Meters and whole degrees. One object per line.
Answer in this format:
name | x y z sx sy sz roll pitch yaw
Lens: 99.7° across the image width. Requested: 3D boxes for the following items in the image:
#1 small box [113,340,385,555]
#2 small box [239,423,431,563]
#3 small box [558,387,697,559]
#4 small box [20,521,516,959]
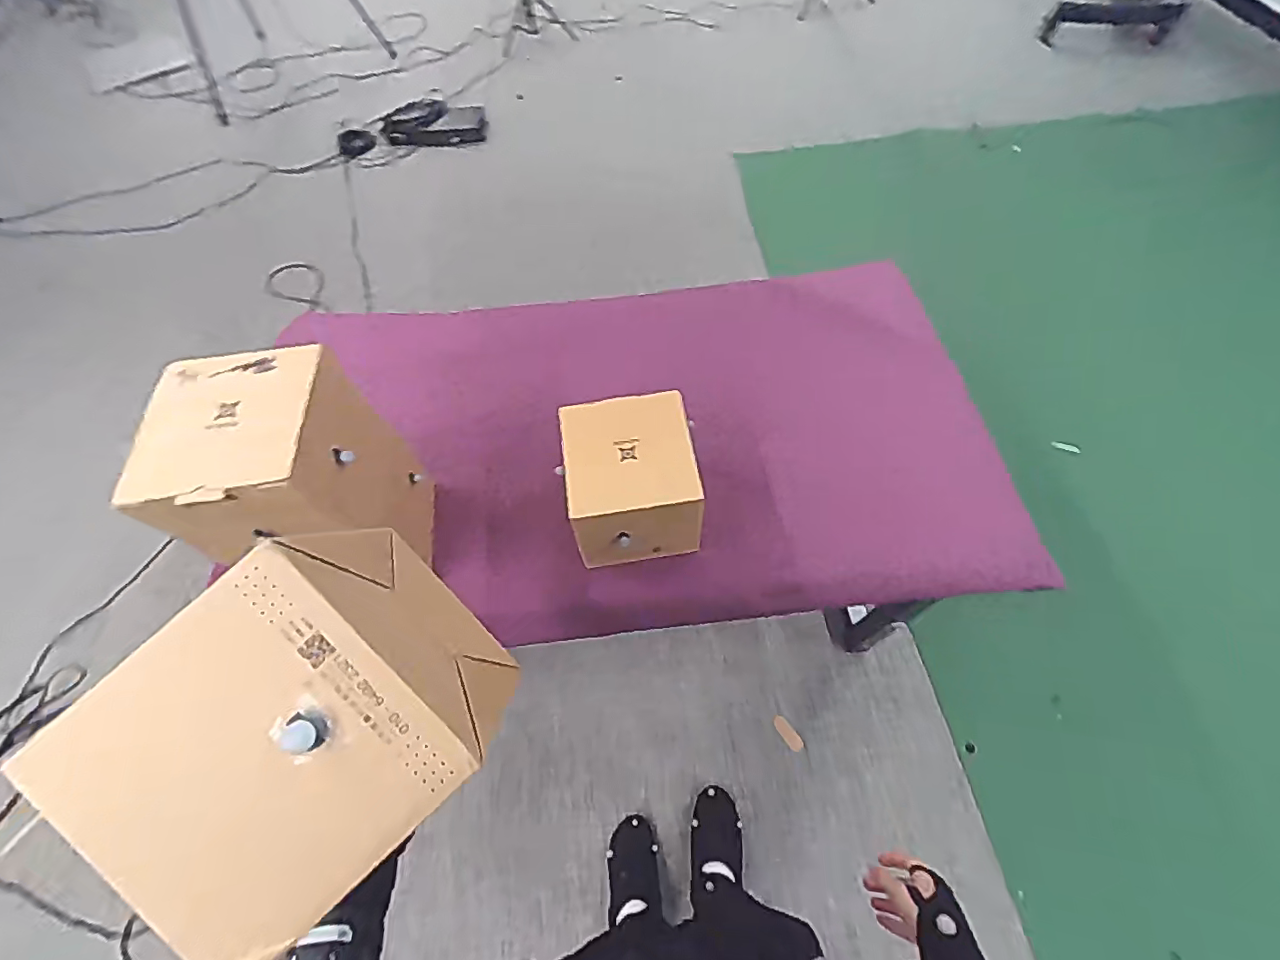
small box | -0.406 -0.025 0.602 0.168 0.176 0.179 -7 61 -2
small box | -0.402 0.047 0.749 0.168 0.176 0.179 -9 61 -2
small box | -0.016 0.000 0.761 0.168 0.176 0.179 -9 58 -2
small box | -0.201 0.140 0.360 0.176 0.179 0.168 -42 91 -7
